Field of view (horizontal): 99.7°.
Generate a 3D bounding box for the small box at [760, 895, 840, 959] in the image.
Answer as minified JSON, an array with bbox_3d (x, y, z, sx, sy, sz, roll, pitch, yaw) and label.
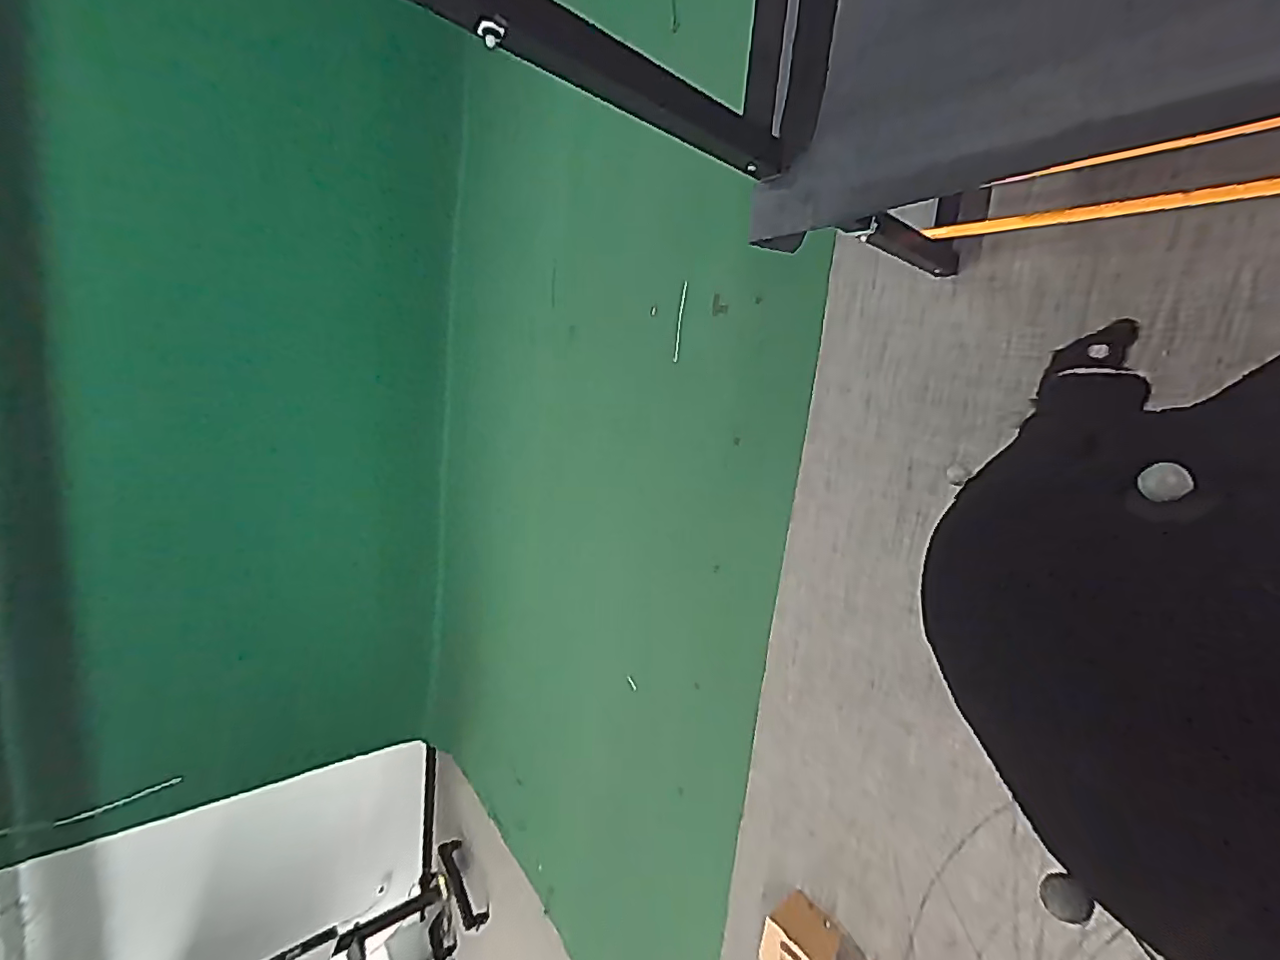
[{"bbox_3d":[0.508,1.476,1.710,0.168,0.176,0.179,21,107,48],"label":"small box"}]
